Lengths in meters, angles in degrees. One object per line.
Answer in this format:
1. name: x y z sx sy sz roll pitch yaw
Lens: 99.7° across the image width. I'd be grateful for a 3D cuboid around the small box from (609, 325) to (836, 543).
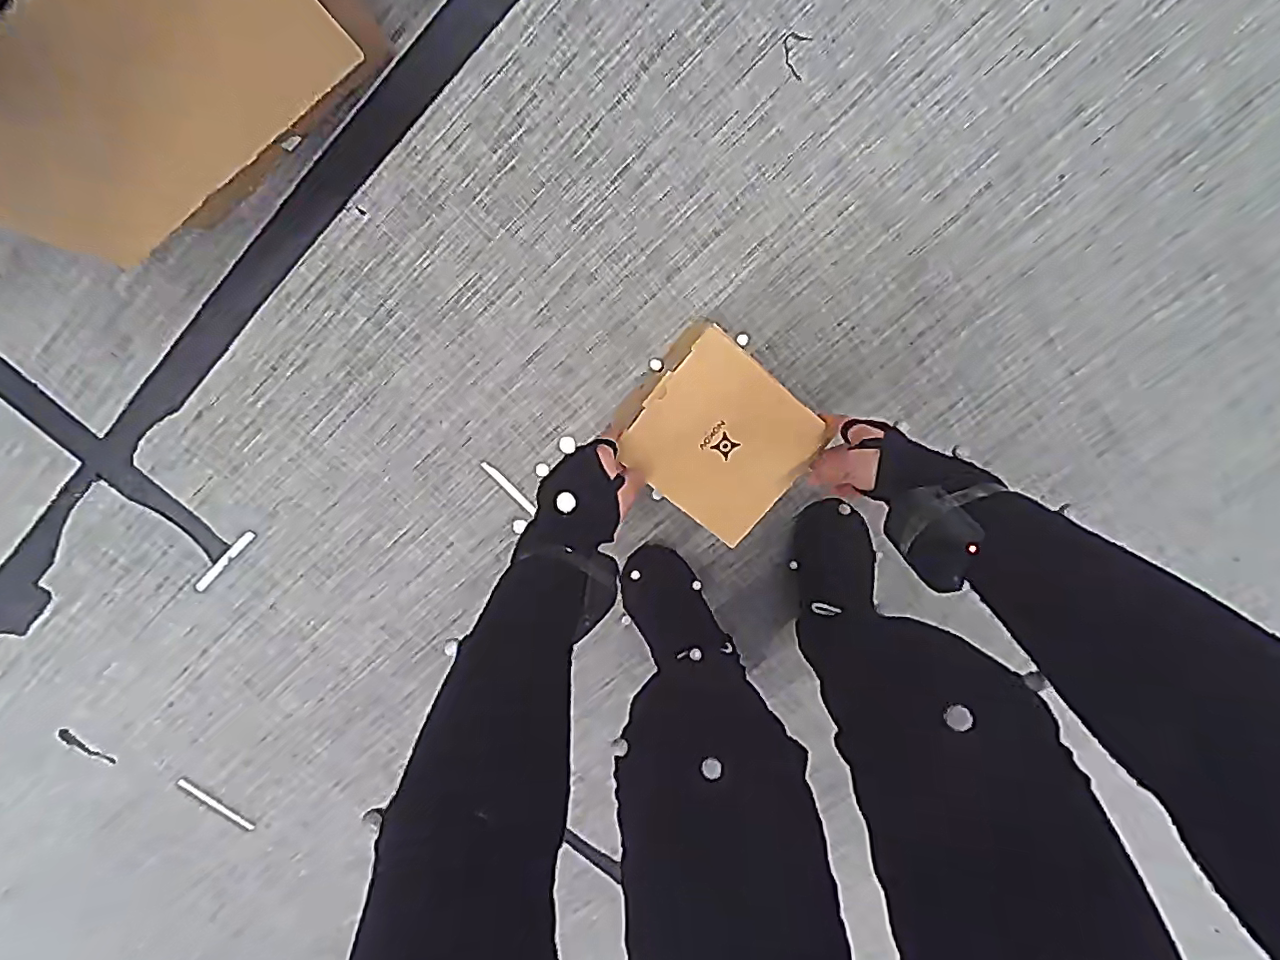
1. small box: 0.084 -0.064 0.626 0.179 0.176 0.168 37 103 -10
